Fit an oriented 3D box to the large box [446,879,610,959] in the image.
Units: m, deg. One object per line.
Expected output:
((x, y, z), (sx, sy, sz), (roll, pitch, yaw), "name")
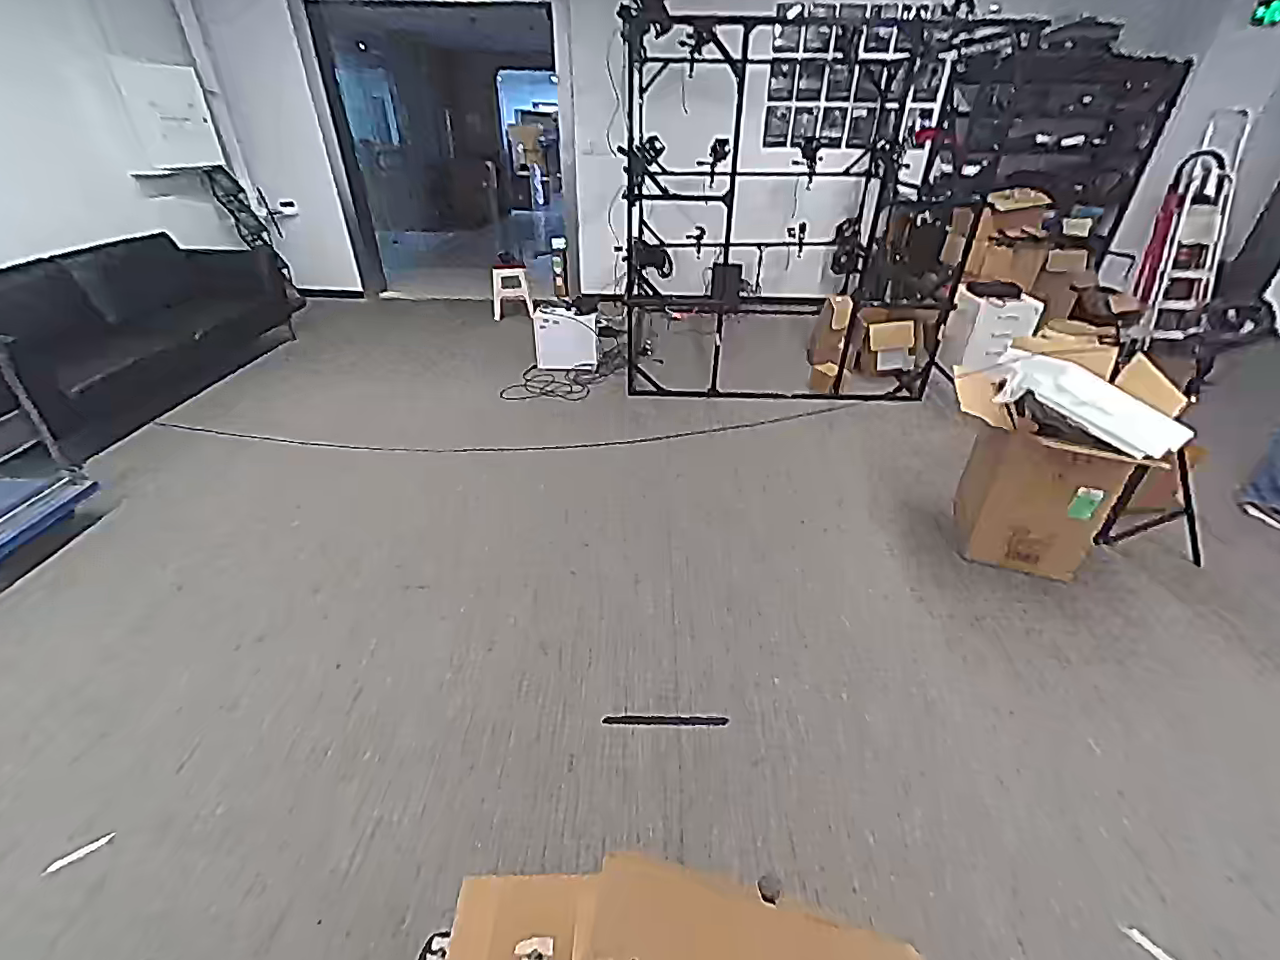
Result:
((-0.093, 0.879, 0.859), (0.408, 0.320, 0.320), (-1, 32, -1), "large box")

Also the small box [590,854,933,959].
((0.052, 0.336, 0.313), (0.179, 0.176, 0.168), (11, 56, 10), "small box")
